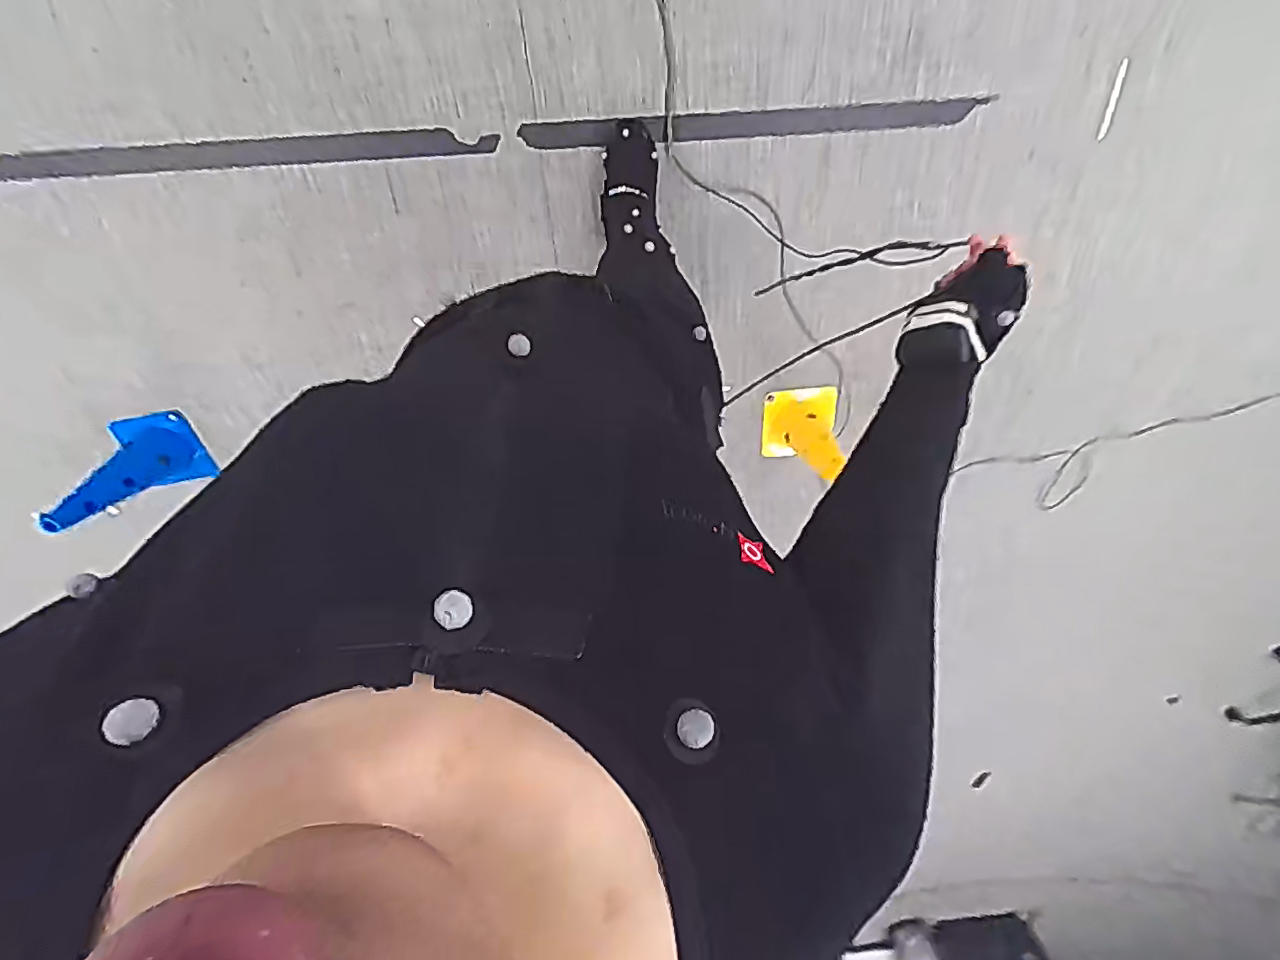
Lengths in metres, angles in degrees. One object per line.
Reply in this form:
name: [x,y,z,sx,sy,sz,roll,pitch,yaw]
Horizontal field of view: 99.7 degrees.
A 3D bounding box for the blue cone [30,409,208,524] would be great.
blue cone: [-1.262,-0.007,1.292,0.193,0.380,0.192,-9,120,2]
